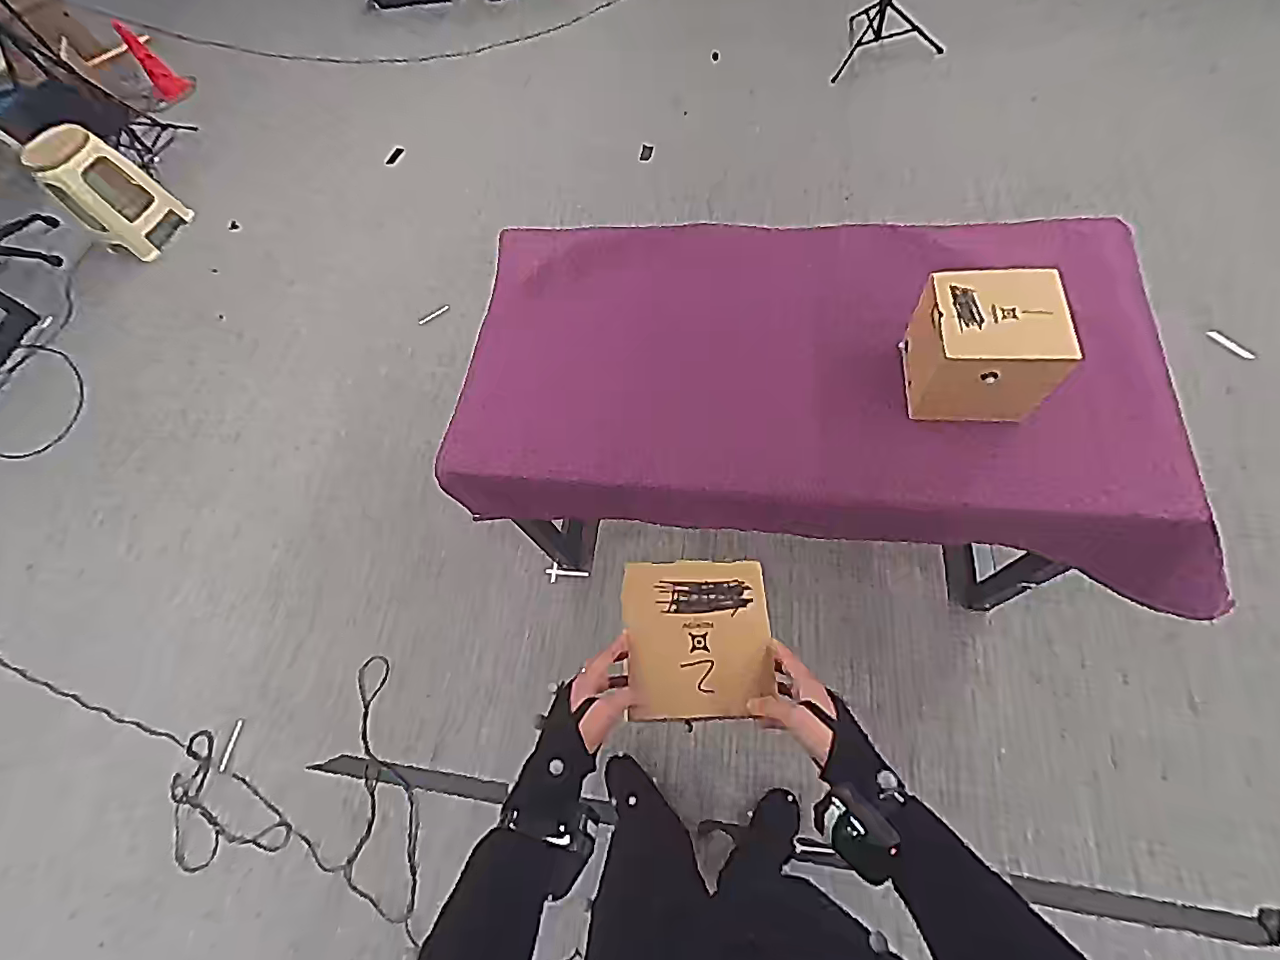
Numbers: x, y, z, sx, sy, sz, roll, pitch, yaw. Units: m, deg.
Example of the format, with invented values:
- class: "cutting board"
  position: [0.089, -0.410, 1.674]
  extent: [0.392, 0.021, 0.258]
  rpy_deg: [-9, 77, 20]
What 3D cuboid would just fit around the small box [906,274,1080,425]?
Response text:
- class: "small box"
  position: [0.532, -0.198, 0.849]
  extent: [0.179, 0.176, 0.168]
  rpy_deg: [3, 65, 10]
